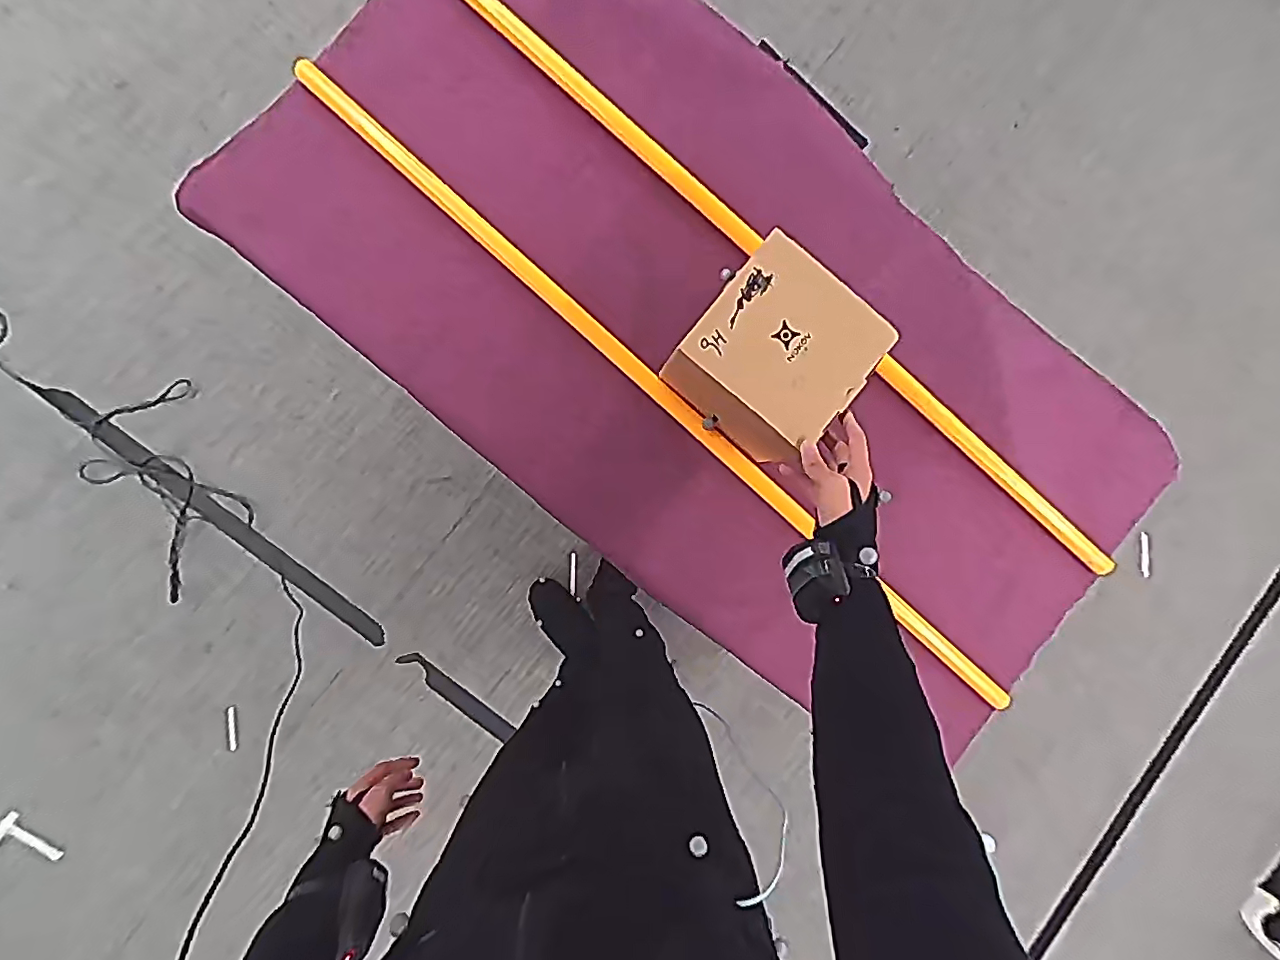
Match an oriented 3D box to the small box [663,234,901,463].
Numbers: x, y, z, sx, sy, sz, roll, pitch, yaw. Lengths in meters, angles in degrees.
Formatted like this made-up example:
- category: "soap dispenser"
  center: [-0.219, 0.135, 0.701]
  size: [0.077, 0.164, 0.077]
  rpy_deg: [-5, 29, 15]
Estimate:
- category: "small box"
  center: [0.148, -0.136, 0.629]
  size: [0.179, 0.176, 0.168]
  rpy_deg: [40, 86, -5]
